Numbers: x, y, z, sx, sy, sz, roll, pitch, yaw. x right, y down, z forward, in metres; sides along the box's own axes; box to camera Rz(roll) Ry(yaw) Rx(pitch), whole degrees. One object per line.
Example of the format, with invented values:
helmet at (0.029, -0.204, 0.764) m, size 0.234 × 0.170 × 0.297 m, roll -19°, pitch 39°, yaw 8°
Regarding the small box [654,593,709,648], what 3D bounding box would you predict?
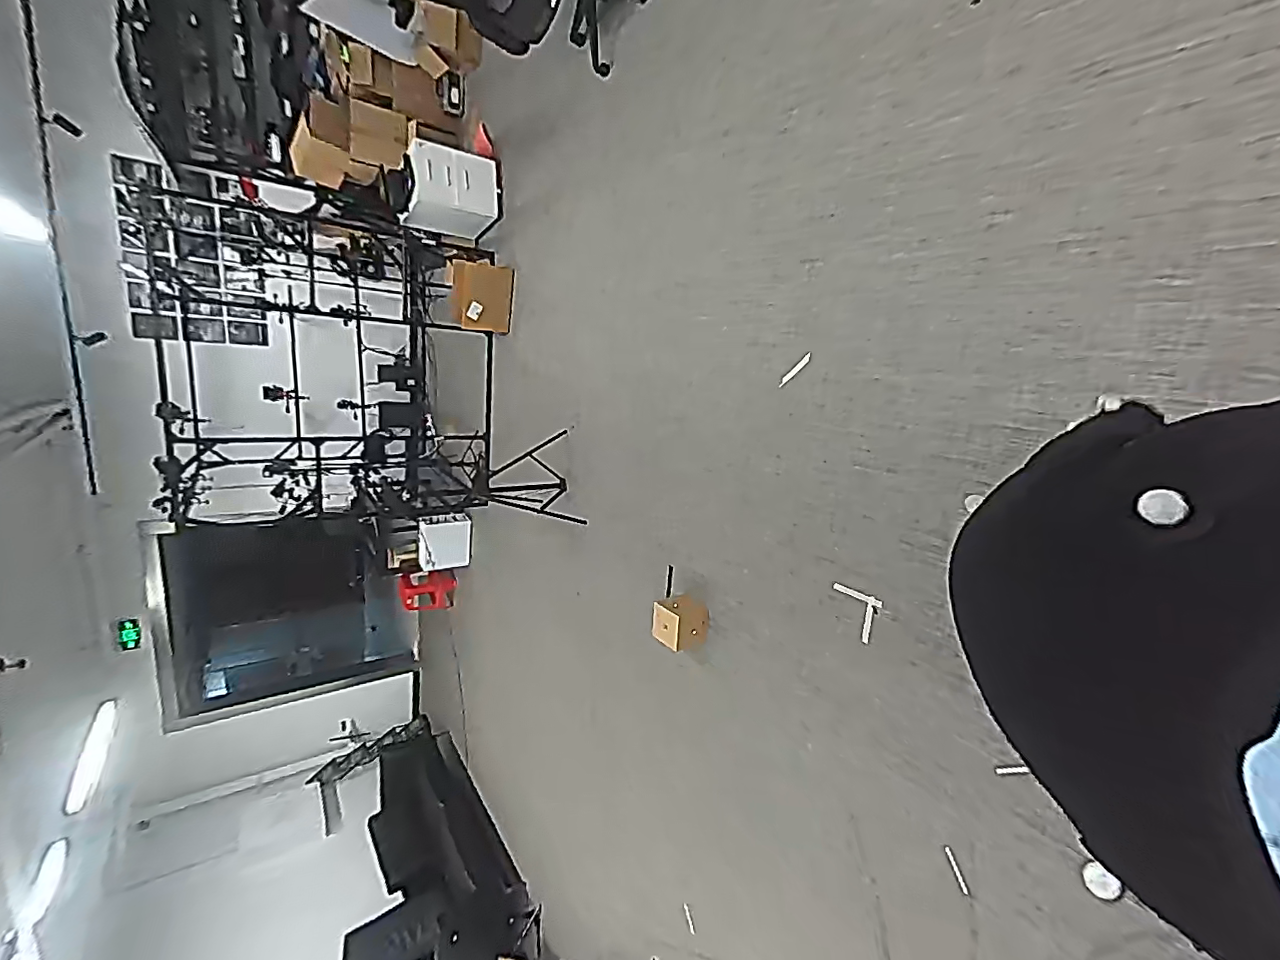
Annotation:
small box at (0.184, 0.610, 2.376) m, size 0.179 × 0.176 × 0.168 m, roll 20°, pitch 109°, yaw 53°
